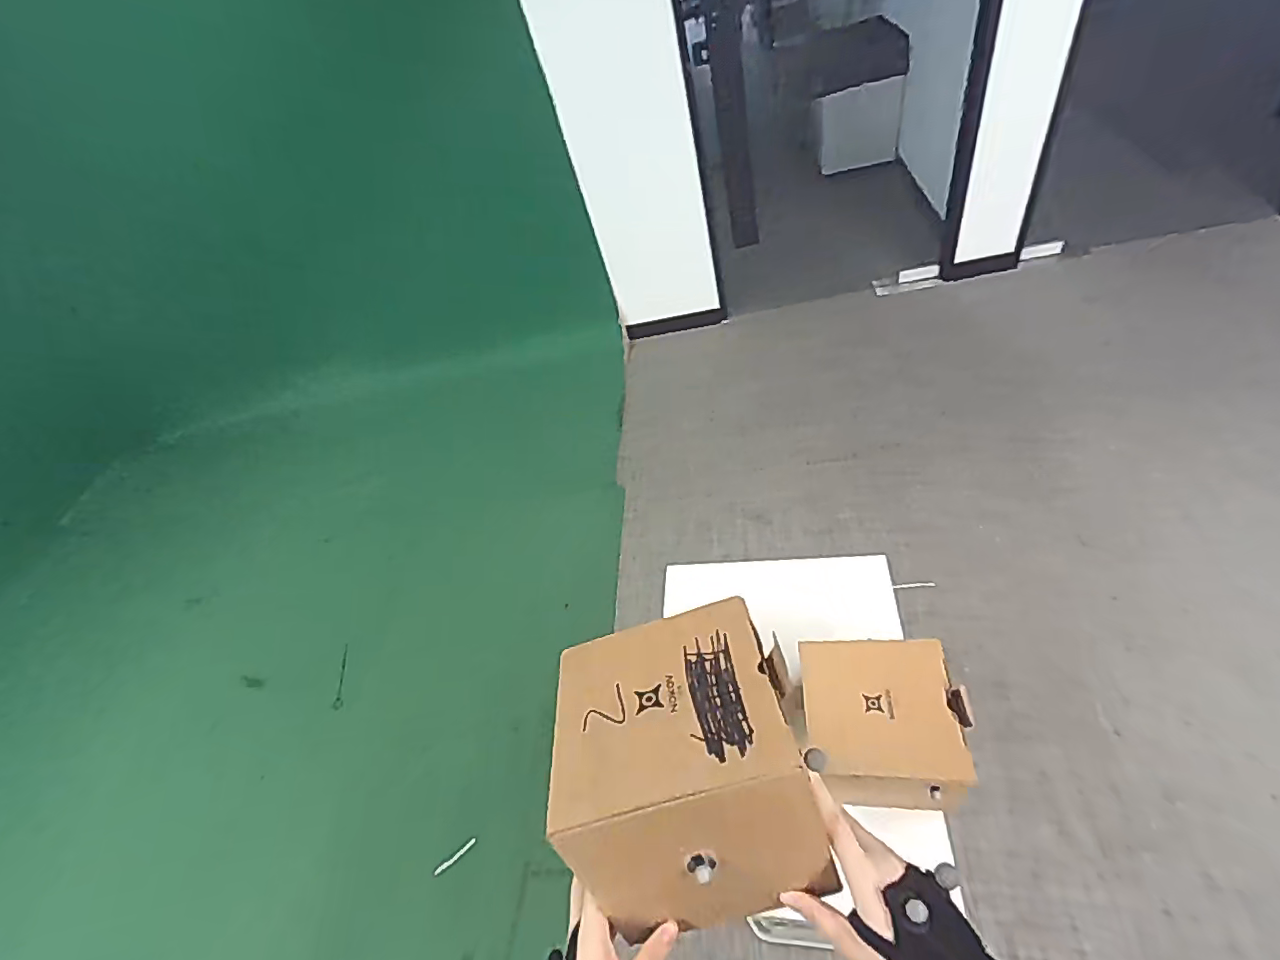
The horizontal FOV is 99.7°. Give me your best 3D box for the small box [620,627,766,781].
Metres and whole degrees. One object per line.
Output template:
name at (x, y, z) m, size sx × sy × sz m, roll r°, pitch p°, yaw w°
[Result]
small box at (0.084, 0.326, 0.784) m, size 0.179 × 0.176 × 0.168 m, roll -5°, pitch 50°, yaw 14°
